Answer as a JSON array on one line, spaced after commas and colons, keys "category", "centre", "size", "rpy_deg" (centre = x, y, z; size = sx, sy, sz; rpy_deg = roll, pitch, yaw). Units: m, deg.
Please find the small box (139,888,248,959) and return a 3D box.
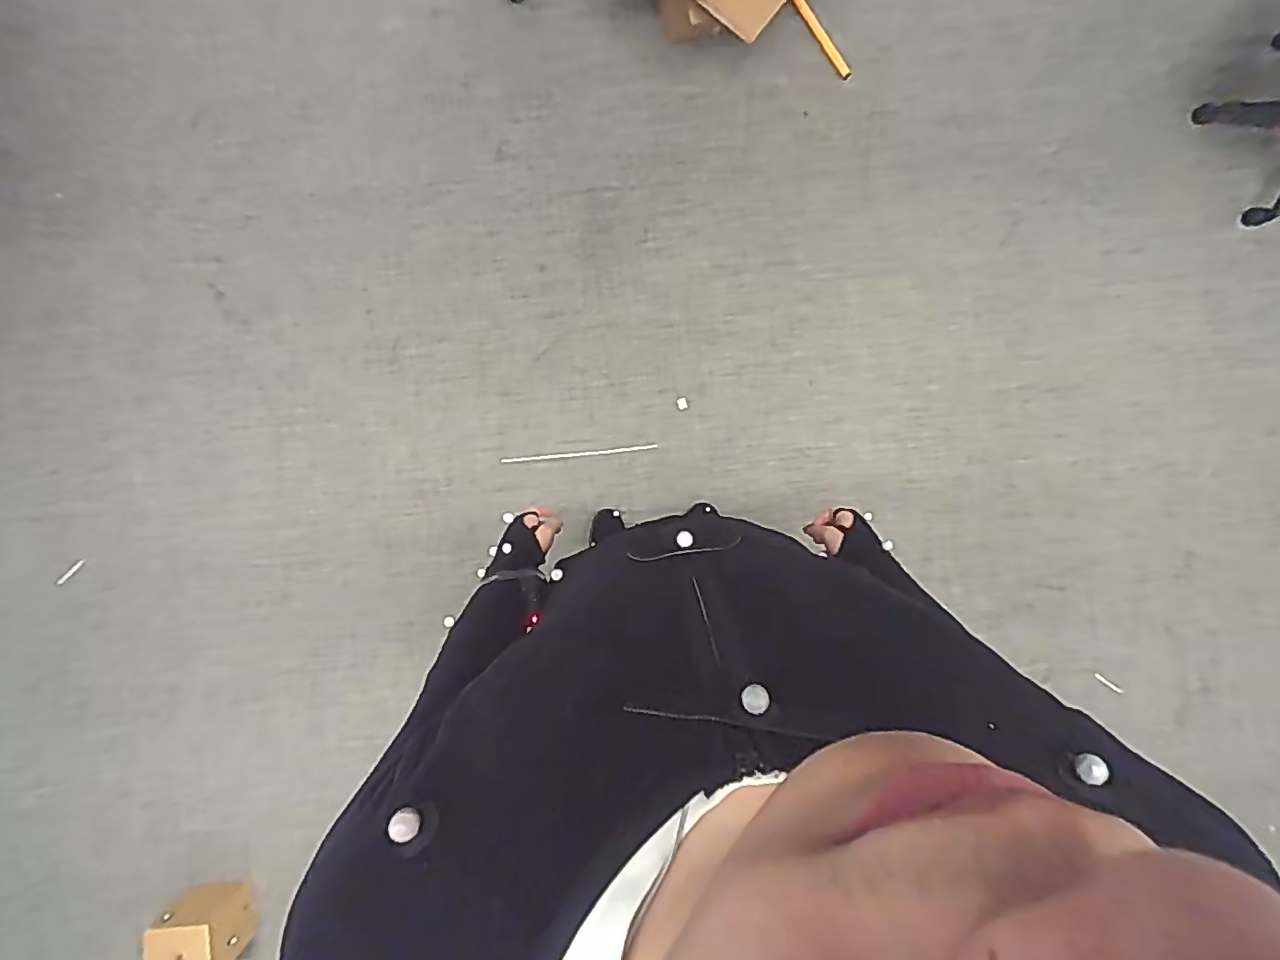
[{"category": "small box", "centre": [-1.218, 1.269, 1.491], "size": [0.179, 0.176, 0.168], "rpy_deg": [-5, 88, -1]}]
